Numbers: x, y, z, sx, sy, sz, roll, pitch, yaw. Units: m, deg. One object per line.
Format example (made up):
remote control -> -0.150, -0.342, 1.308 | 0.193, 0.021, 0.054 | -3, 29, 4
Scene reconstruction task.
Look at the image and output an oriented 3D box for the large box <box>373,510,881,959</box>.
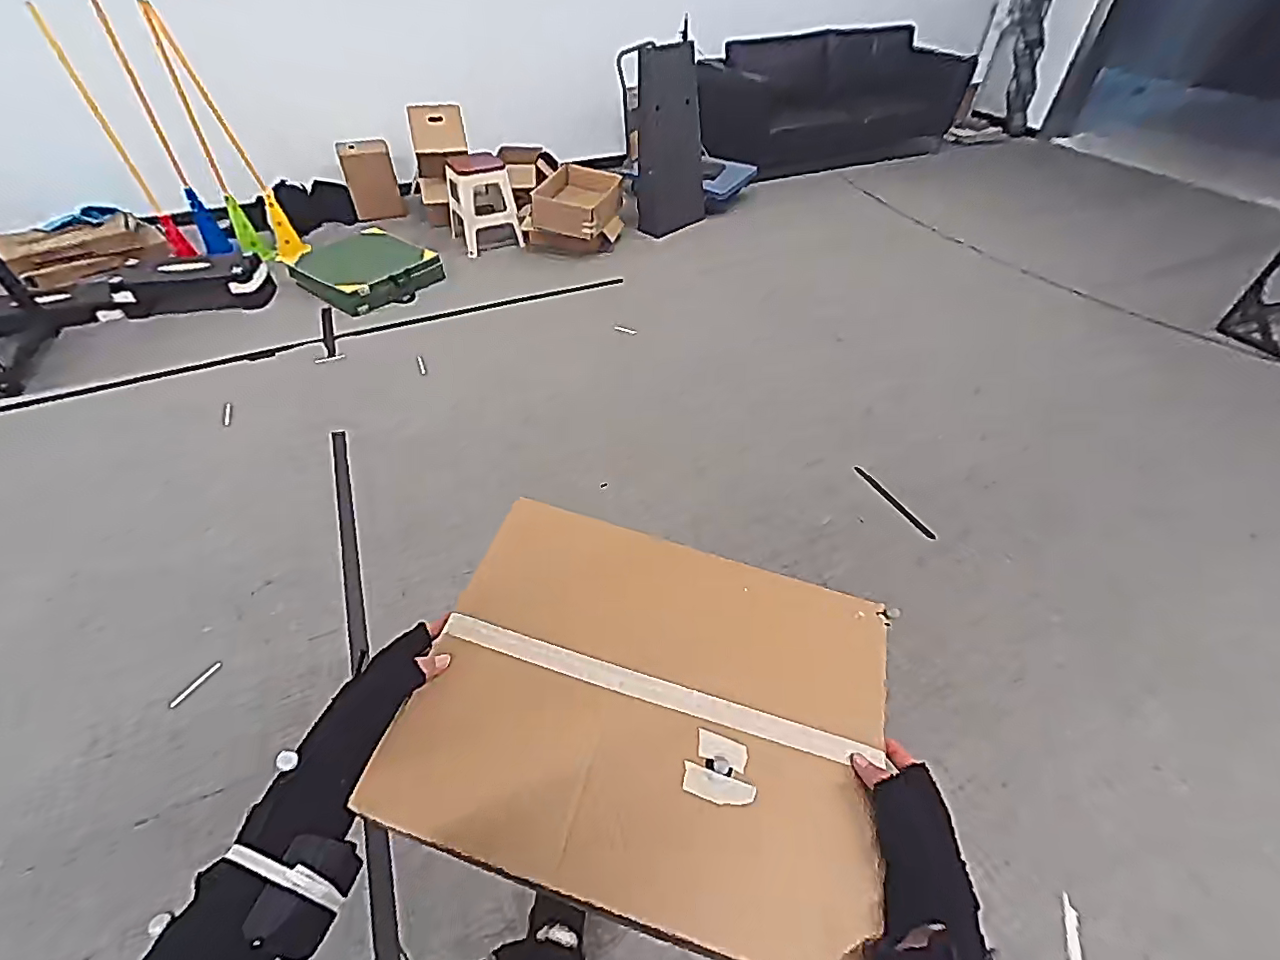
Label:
large box -> 0.004, 0.289, 0.609 | 0.408, 0.320, 0.320 | 17, 52, 6
